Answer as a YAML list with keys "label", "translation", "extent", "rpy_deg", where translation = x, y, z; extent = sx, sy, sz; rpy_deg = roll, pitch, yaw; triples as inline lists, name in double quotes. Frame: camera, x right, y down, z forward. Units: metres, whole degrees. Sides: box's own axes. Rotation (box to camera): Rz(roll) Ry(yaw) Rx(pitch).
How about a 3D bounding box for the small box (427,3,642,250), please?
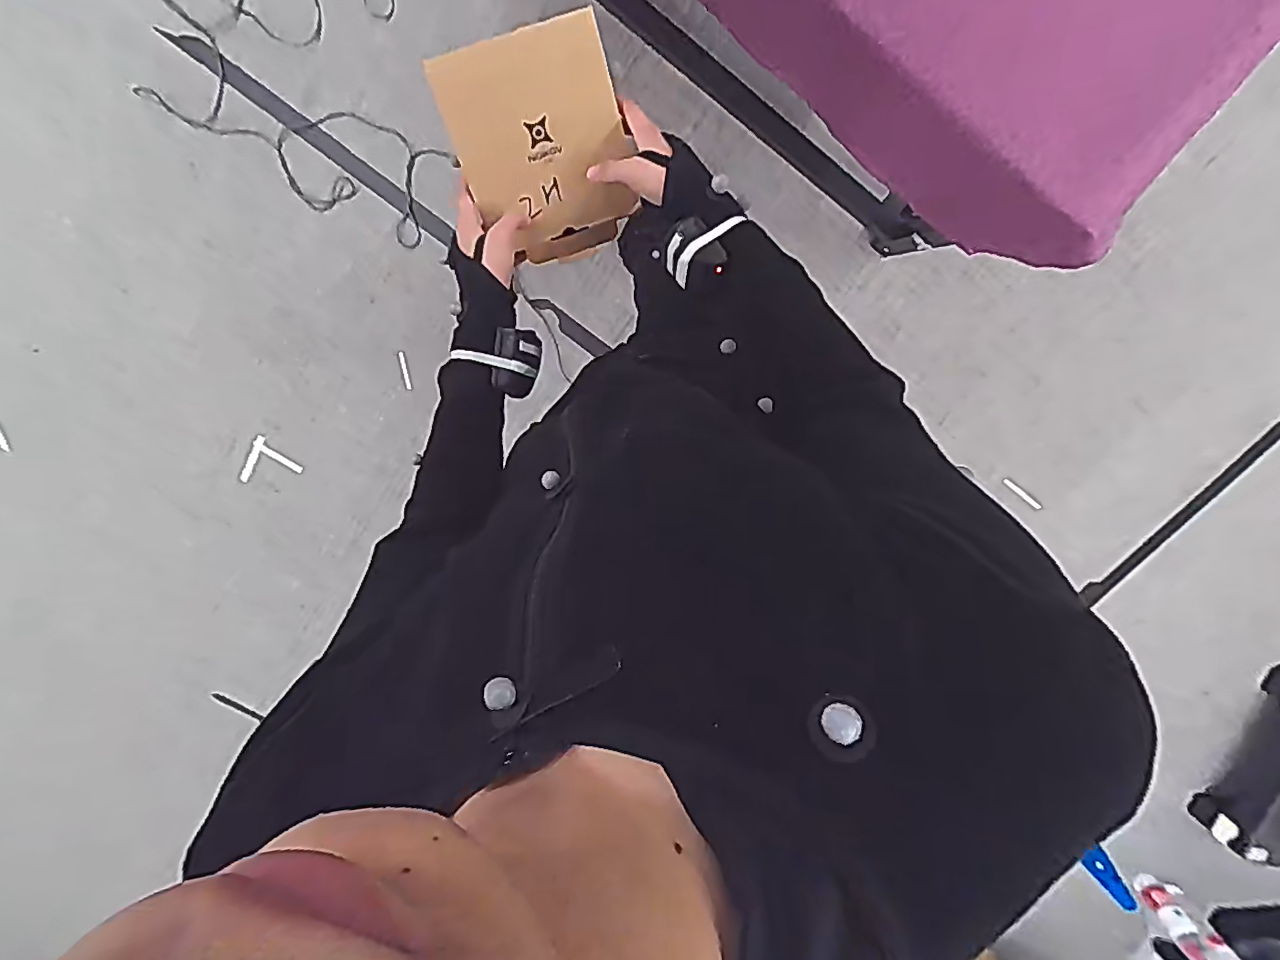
- label: "small box"
  translation: [-0.107, -0.373, 0.597]
  extent: [0.168, 0.176, 0.179]
  rpy_deg: [-17, 120, 2]
